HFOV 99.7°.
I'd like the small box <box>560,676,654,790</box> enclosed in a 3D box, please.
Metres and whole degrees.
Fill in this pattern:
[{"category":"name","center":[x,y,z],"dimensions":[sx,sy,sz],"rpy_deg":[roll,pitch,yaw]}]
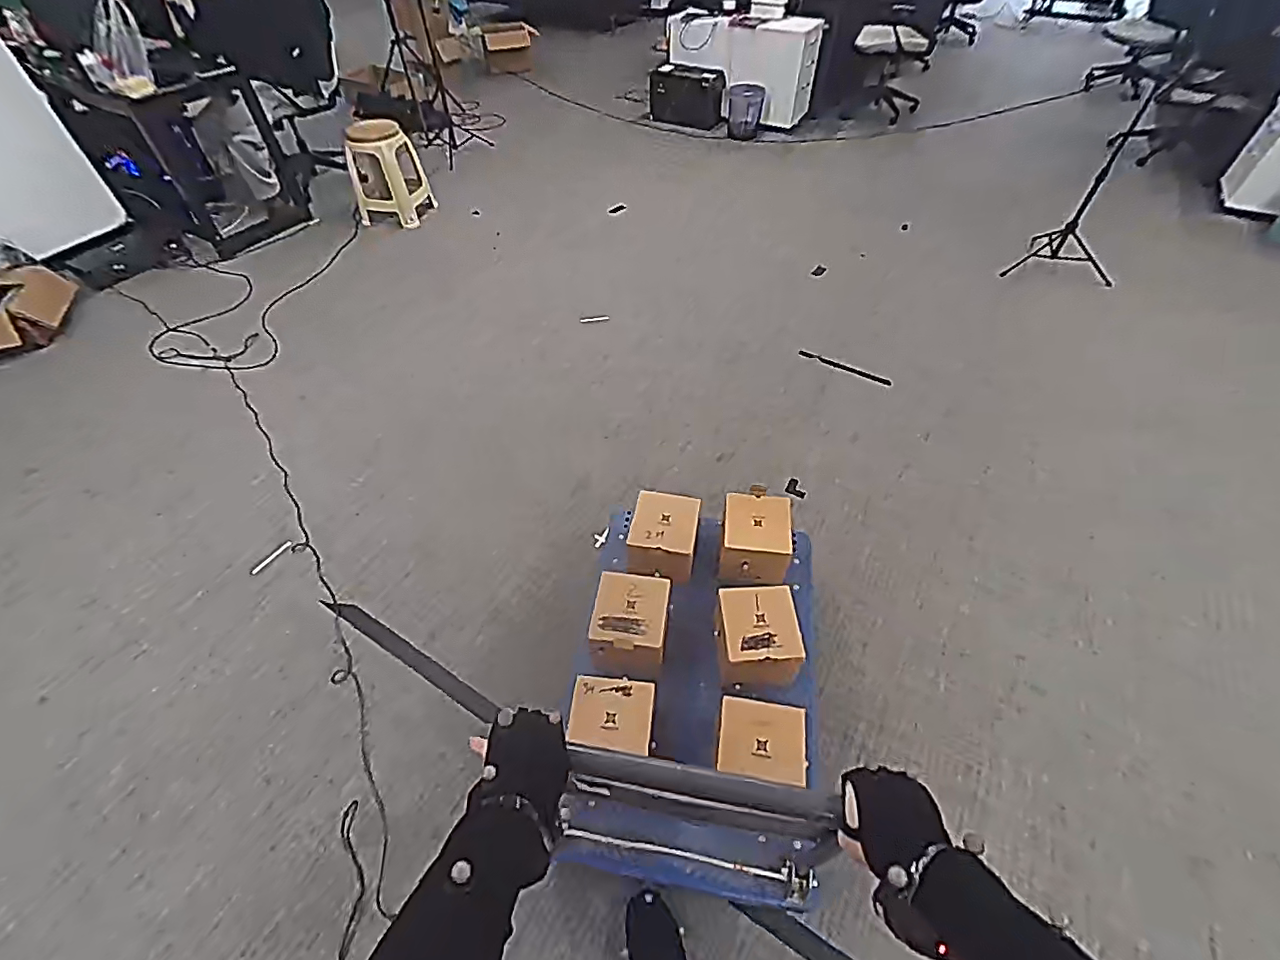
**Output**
[{"category":"small box","center":[-0.060,0.536,1.137],"dimensions":[0.168,0.176,0.179],"rpy_deg":[5,51,5]}]

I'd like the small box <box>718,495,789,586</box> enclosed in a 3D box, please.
[{"category":"small box","center":[0.299,0.165,1.439],"dimensions":[0.168,0.176,0.179],"rpy_deg":[5,50,5]}]

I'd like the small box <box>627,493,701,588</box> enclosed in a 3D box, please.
[{"category":"small box","center":[0.063,0.162,1.443],"dimensions":[0.168,0.176,0.179],"rpy_deg":[9,52,8]}]

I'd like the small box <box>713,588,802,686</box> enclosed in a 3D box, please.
[{"category":"small box","center":[0.267,0.373,1.266],"dimensions":[0.168,0.176,0.179],"rpy_deg":[-2,49,0]}]

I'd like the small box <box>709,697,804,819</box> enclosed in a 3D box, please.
[{"category":"small box","center":[0.234,0.571,1.104],"dimensions":[0.168,0.176,0.179],"rpy_deg":[8,50,7]}]
